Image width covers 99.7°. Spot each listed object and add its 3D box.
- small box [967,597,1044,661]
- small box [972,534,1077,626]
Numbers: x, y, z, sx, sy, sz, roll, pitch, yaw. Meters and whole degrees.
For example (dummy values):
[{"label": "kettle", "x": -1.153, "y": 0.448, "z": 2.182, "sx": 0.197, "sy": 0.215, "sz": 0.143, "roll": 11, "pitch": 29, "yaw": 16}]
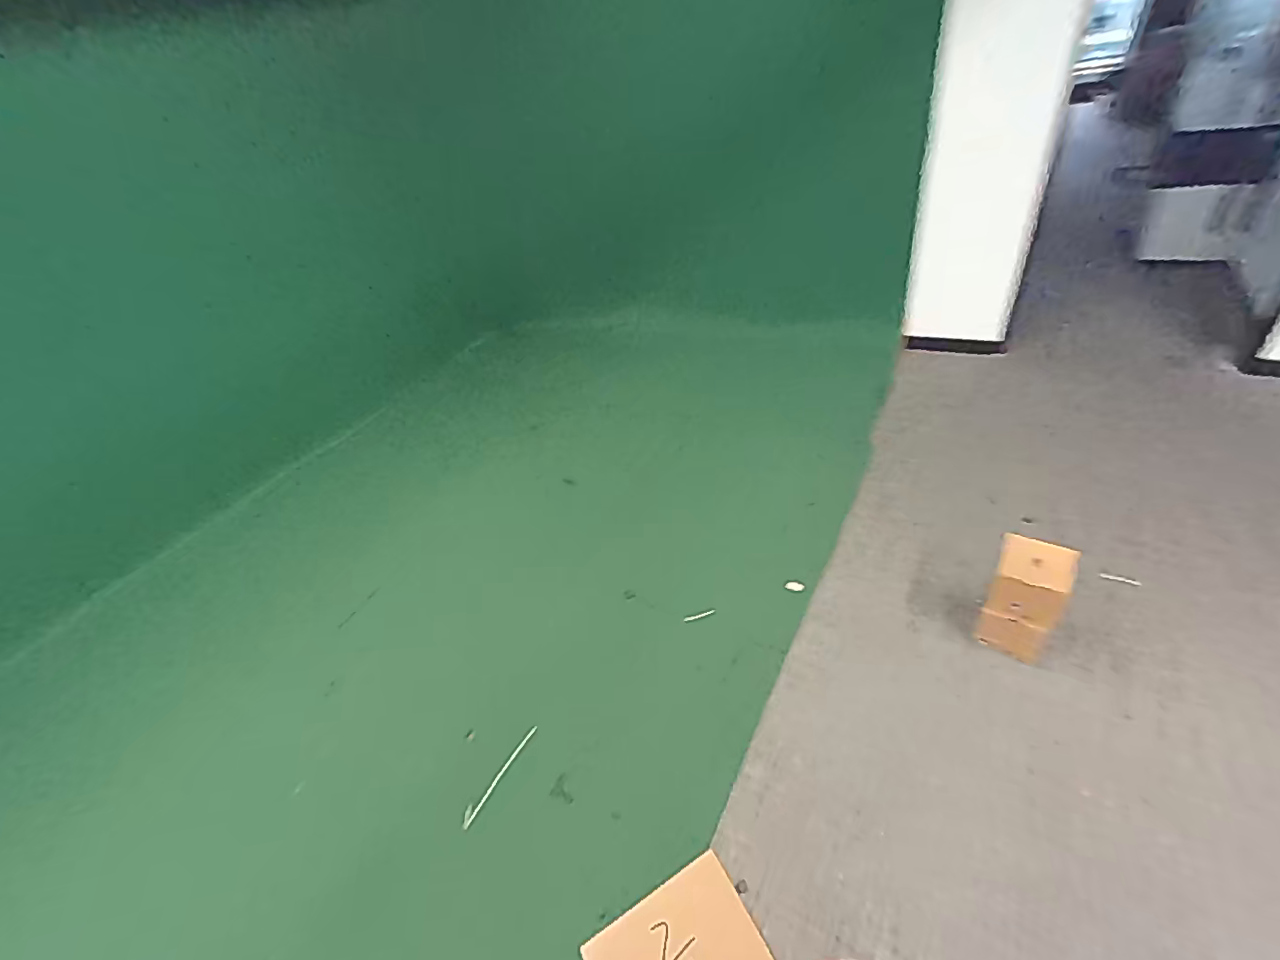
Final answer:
[{"label": "small box", "x": 1.134, "y": 0.424, "z": 1.674, "sx": 0.168, "sy": 0.176, "sz": 0.179, "roll": 19, "pitch": 48, "yaw": 32}, {"label": "small box", "x": 1.117, "y": 0.296, "z": 1.588, "sx": 0.168, "sy": 0.176, "sz": 0.179, "roll": -24, "pitch": 40, "yaw": -11}]
